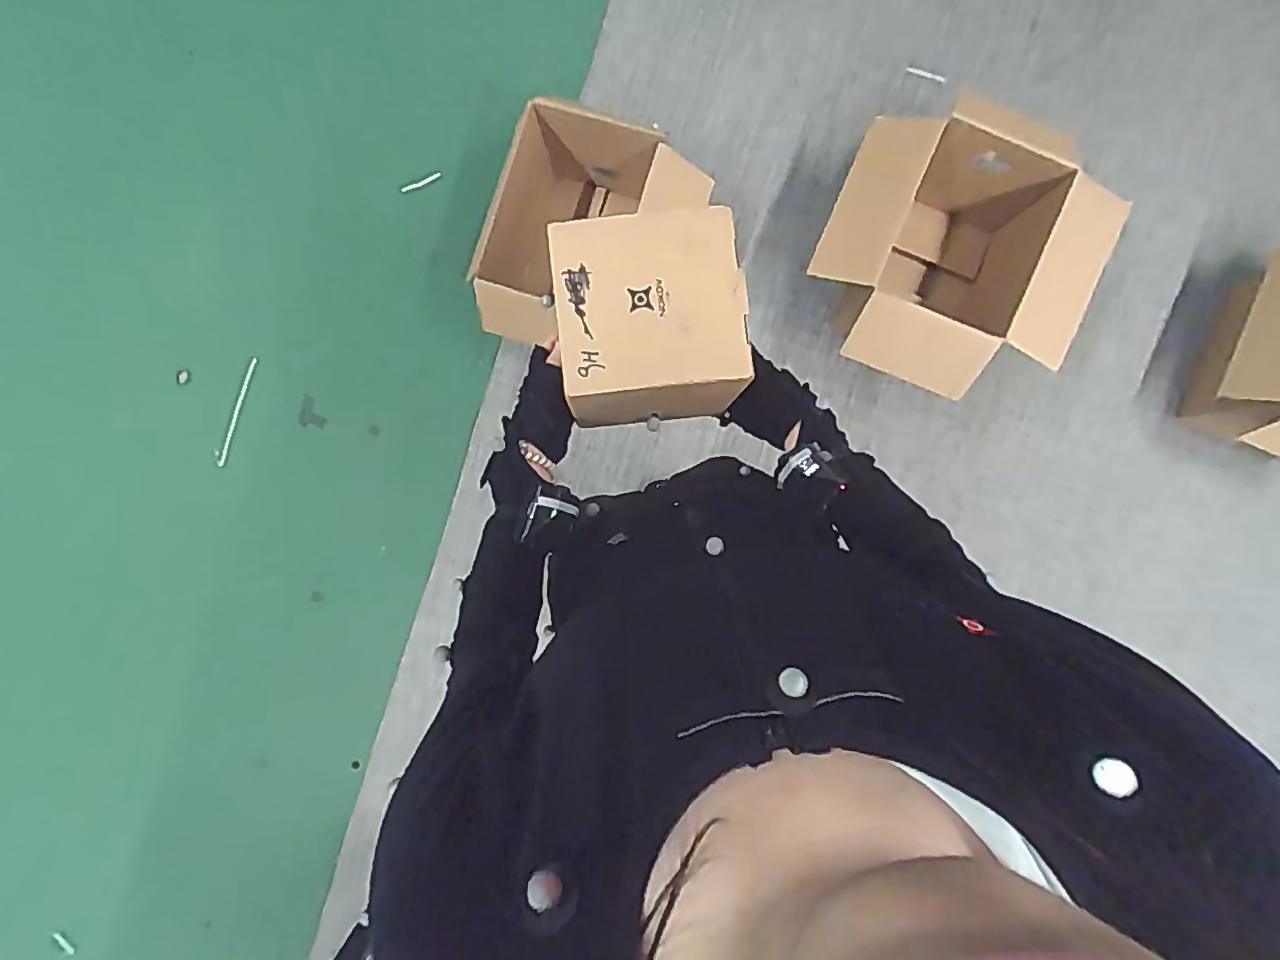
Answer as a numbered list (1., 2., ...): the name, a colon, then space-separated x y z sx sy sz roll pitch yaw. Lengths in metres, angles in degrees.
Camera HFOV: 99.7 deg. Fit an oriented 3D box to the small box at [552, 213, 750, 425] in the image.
1. small box: 0.005 -0.159 0.580 0.179 0.176 0.168 -5 85 -3
